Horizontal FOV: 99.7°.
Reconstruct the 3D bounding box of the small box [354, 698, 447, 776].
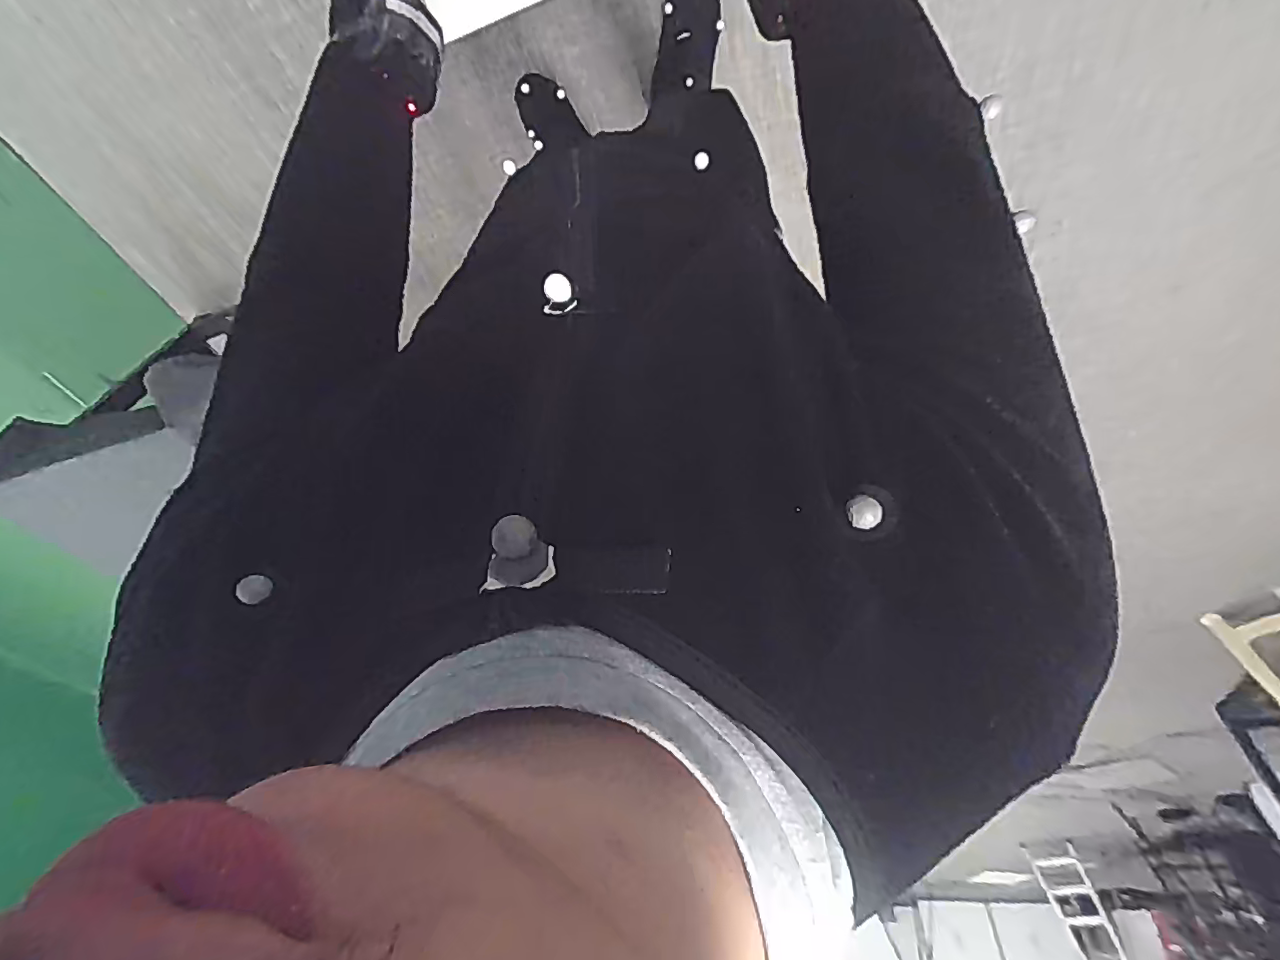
[{"bbox_3d":[-0.726,0.783,1.657,0.168,0.176,0.179,-11,132,14],"label":"small box"}]
